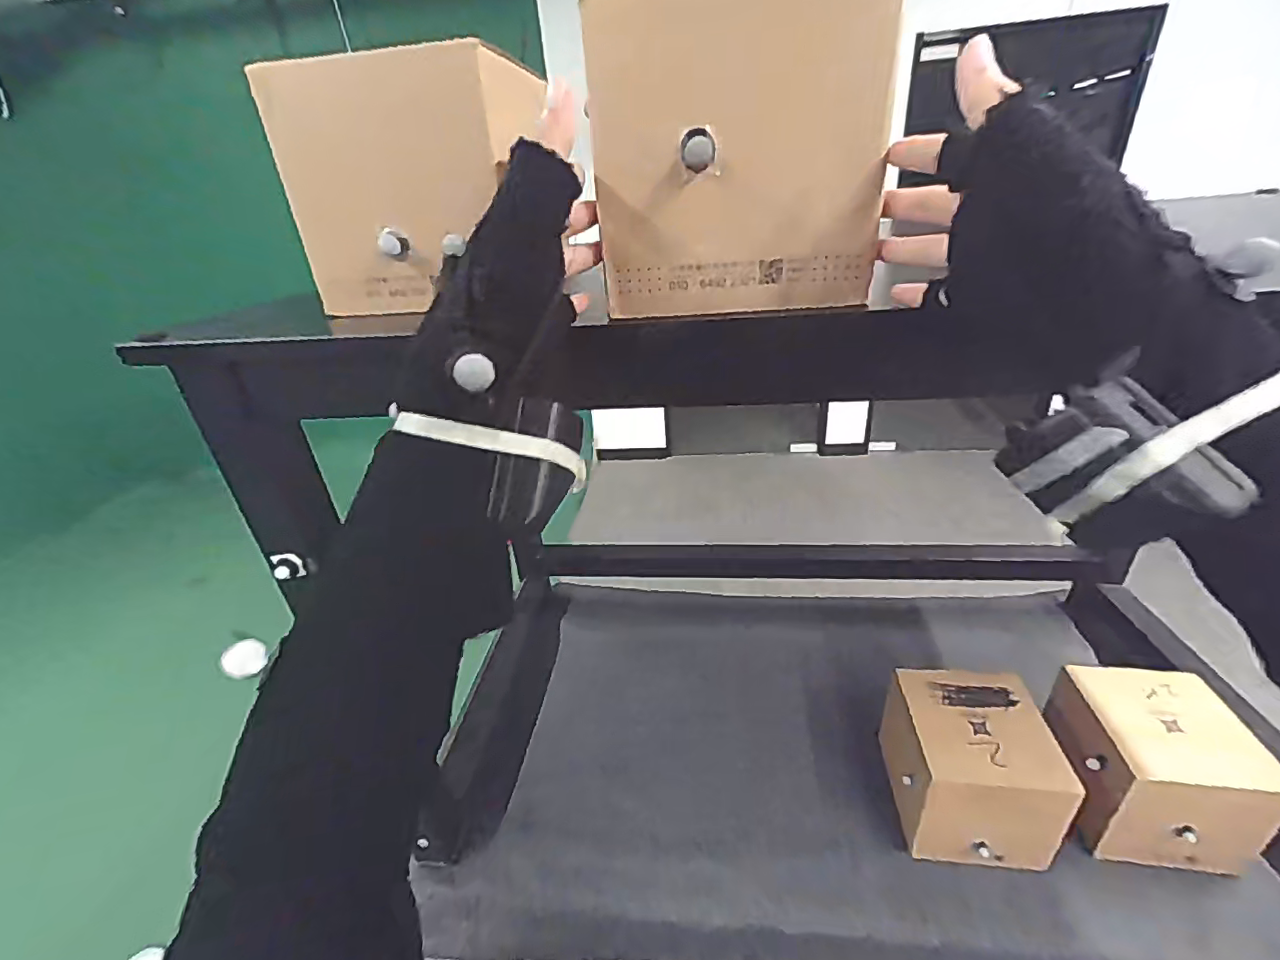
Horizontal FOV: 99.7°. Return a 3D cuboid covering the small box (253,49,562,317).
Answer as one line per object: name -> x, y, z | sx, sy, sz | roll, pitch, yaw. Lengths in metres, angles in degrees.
small box -> -0.171, -0.244, 0.467 | 0.168, 0.176, 0.179 | 0, 30, 8

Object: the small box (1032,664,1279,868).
small box -> 0.667, 0.377, 0.722 | 0.168, 0.176, 0.179 | 1, 28, 11

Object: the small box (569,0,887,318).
small box -> 0.058, -0.213, 0.379 | 0.168, 0.176, 0.179 | -1, 28, 7
